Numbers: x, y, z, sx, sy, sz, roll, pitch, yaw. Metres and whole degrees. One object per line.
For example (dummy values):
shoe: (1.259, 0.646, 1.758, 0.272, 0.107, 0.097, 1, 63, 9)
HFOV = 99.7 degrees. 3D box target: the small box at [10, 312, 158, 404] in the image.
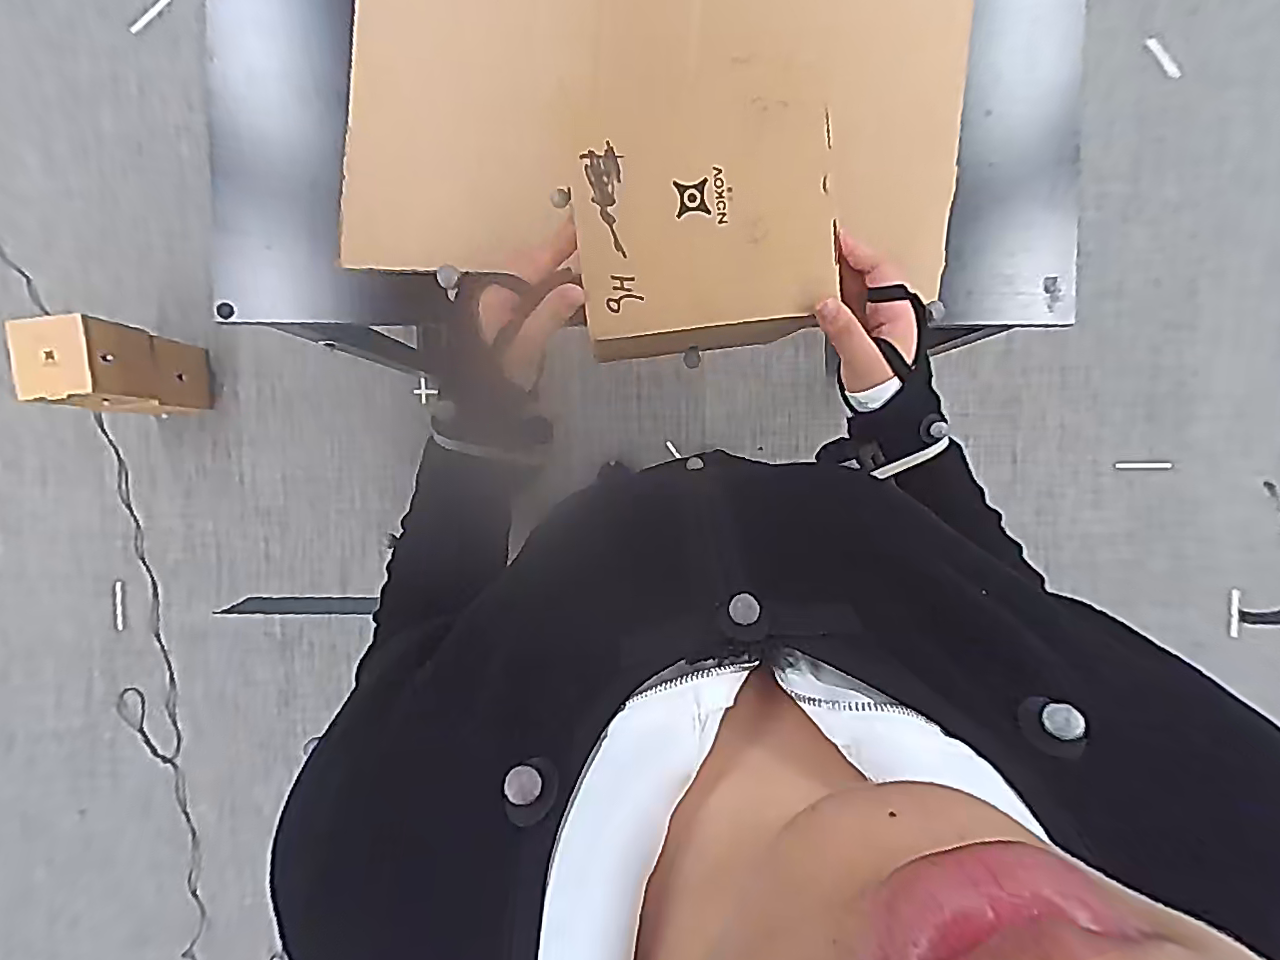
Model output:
small box: (-1.267, -0.273, 1.247, 0.168, 0.176, 0.179, -7, 92, 0)

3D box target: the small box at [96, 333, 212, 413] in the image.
small box: (-1.266, -0.274, 1.411, 0.168, 0.176, 0.179, -4, 93, 0)
